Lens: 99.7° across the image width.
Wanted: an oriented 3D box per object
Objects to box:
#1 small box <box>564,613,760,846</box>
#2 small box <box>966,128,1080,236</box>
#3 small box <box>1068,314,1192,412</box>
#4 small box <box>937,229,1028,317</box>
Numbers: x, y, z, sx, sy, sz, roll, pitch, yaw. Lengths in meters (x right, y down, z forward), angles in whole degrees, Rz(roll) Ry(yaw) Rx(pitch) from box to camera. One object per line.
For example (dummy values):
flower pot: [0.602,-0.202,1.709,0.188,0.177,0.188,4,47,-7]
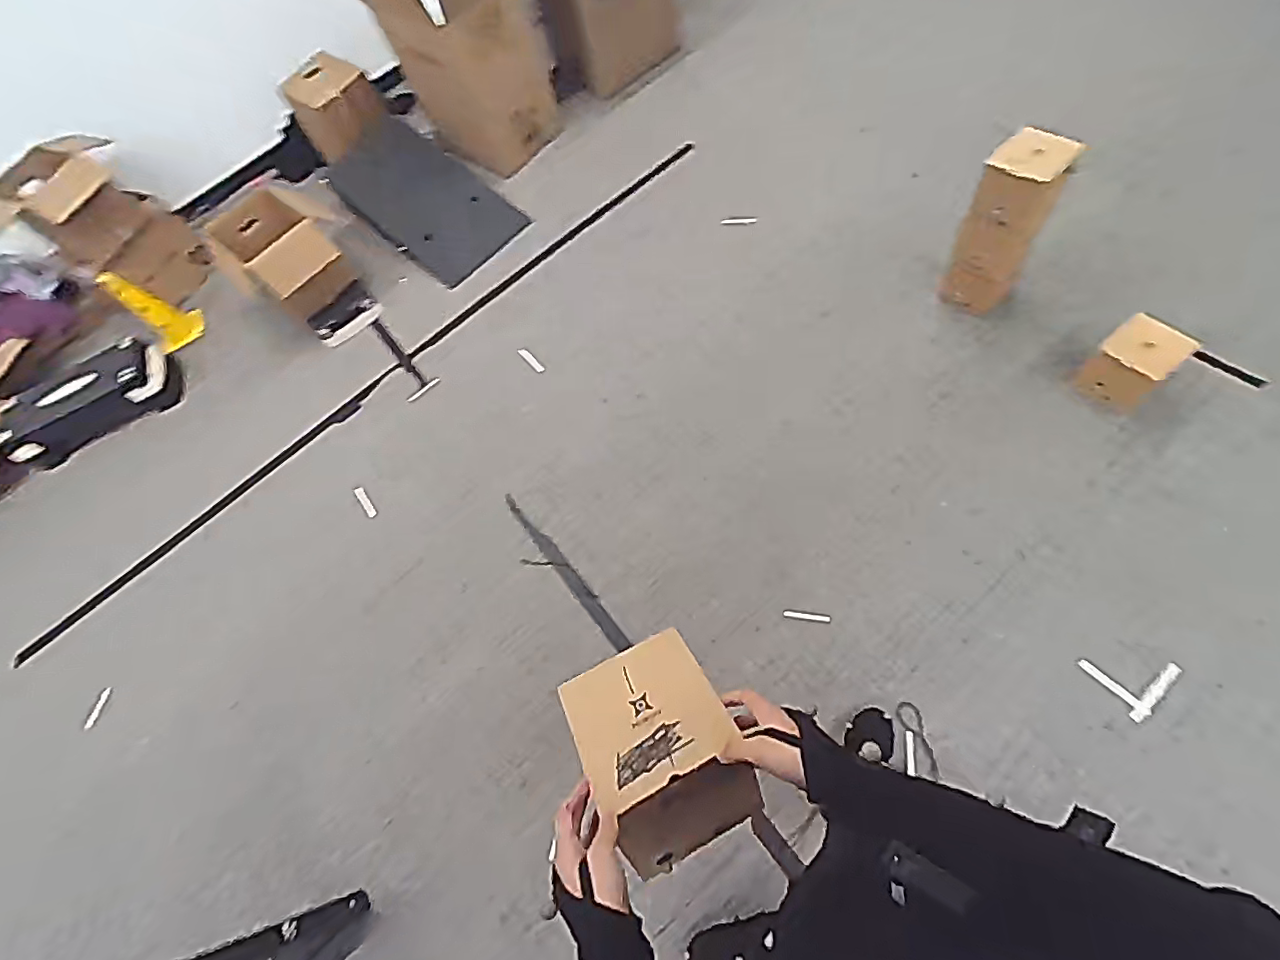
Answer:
small box: [0.029,0.305,0.656,0.168,0.176,0.179,-24,36,-10]
small box: [1.039,-0.815,1.486,0.179,0.176,0.168,-43,62,-9]
small box: [1.387,-0.331,1.547,0.179,0.176,0.168,-39,63,-7]
small box: [1.112,-0.675,1.773,0.179,0.176,0.168,-42,63,-10]
